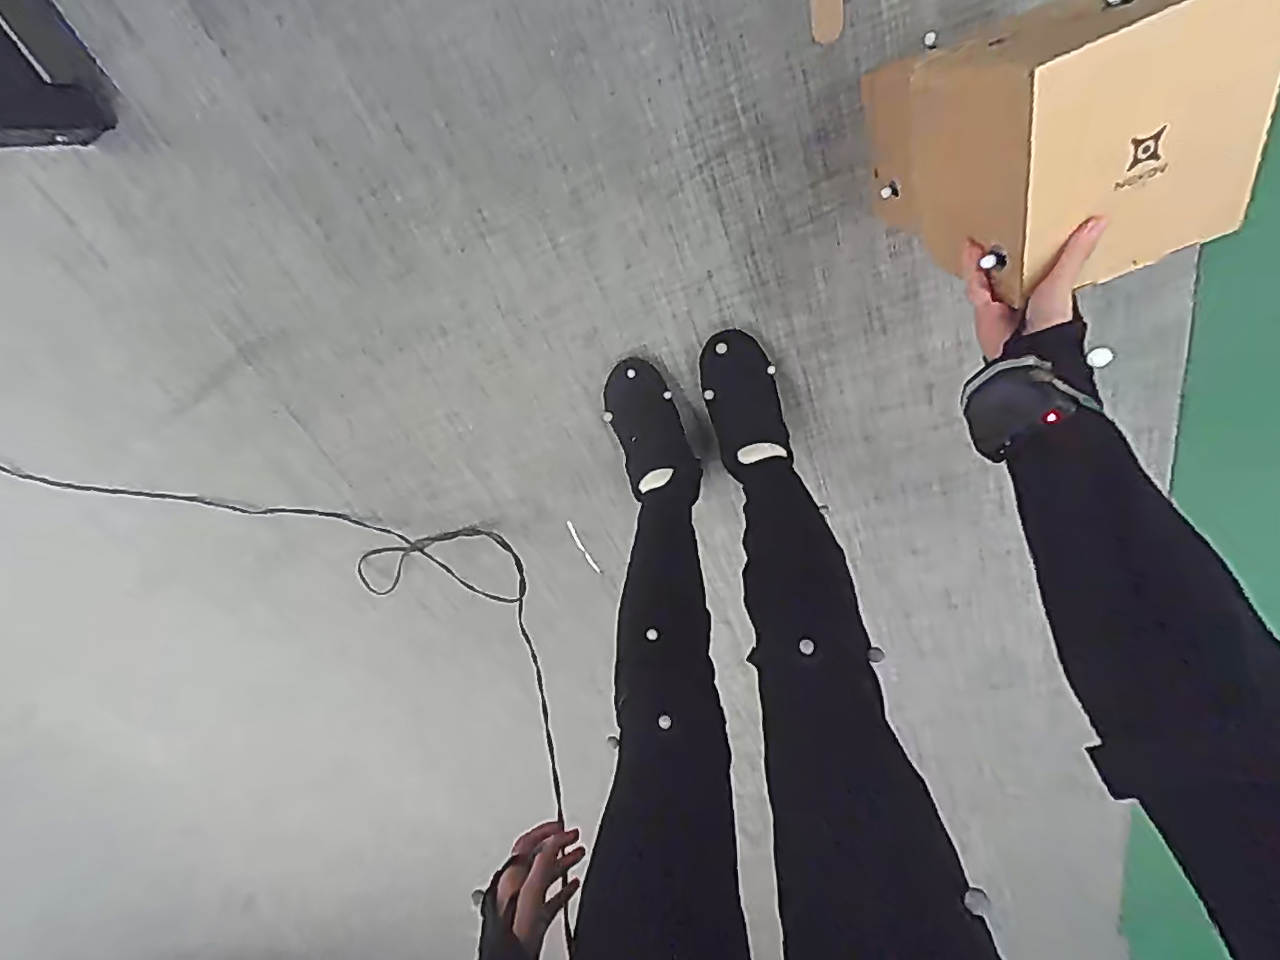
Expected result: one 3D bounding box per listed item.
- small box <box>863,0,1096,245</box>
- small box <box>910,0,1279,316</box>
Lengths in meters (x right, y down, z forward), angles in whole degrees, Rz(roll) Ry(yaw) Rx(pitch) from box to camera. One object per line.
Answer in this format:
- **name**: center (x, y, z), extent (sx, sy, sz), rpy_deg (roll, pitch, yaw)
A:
- **small box**: center (0.359, -0.380, 0.597), extent (0.179, 0.176, 0.168), rpy_deg (-15, 121, 11)
- **small box**: center (0.347, -0.272, 0.451), extent (0.168, 0.176, 0.179), rpy_deg (-21, 127, 8)
